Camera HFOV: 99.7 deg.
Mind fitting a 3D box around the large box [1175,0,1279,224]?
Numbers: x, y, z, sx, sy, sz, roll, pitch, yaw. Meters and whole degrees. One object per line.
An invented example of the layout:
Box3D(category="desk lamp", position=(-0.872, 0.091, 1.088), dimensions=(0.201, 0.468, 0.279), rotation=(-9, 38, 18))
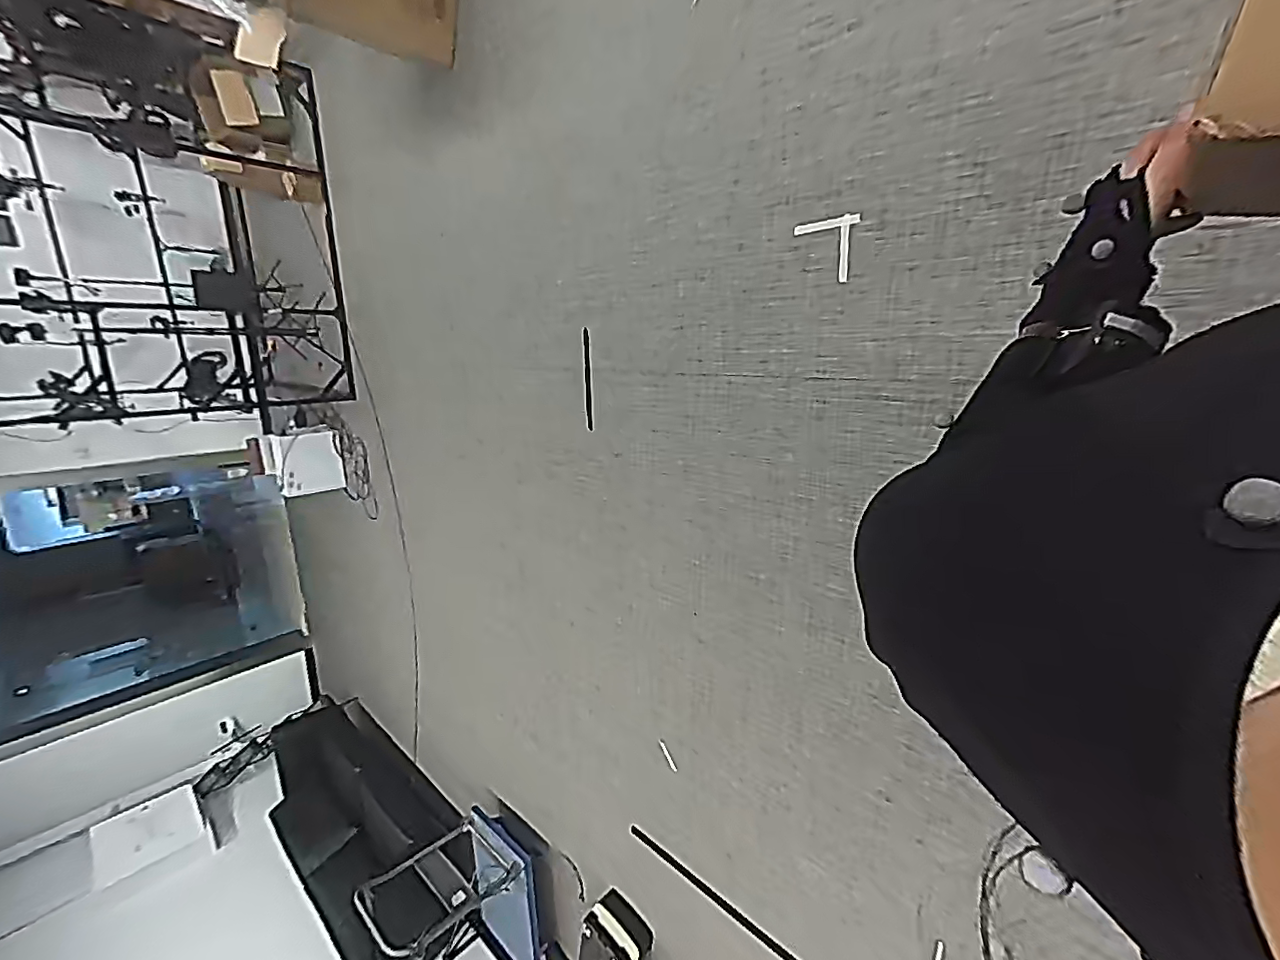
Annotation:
Box3D(category="large box", position=(0.501, -0.267, 0.174), dimensions=(0.408, 0.320, 0.320), rotation=(22, 119, 37))
